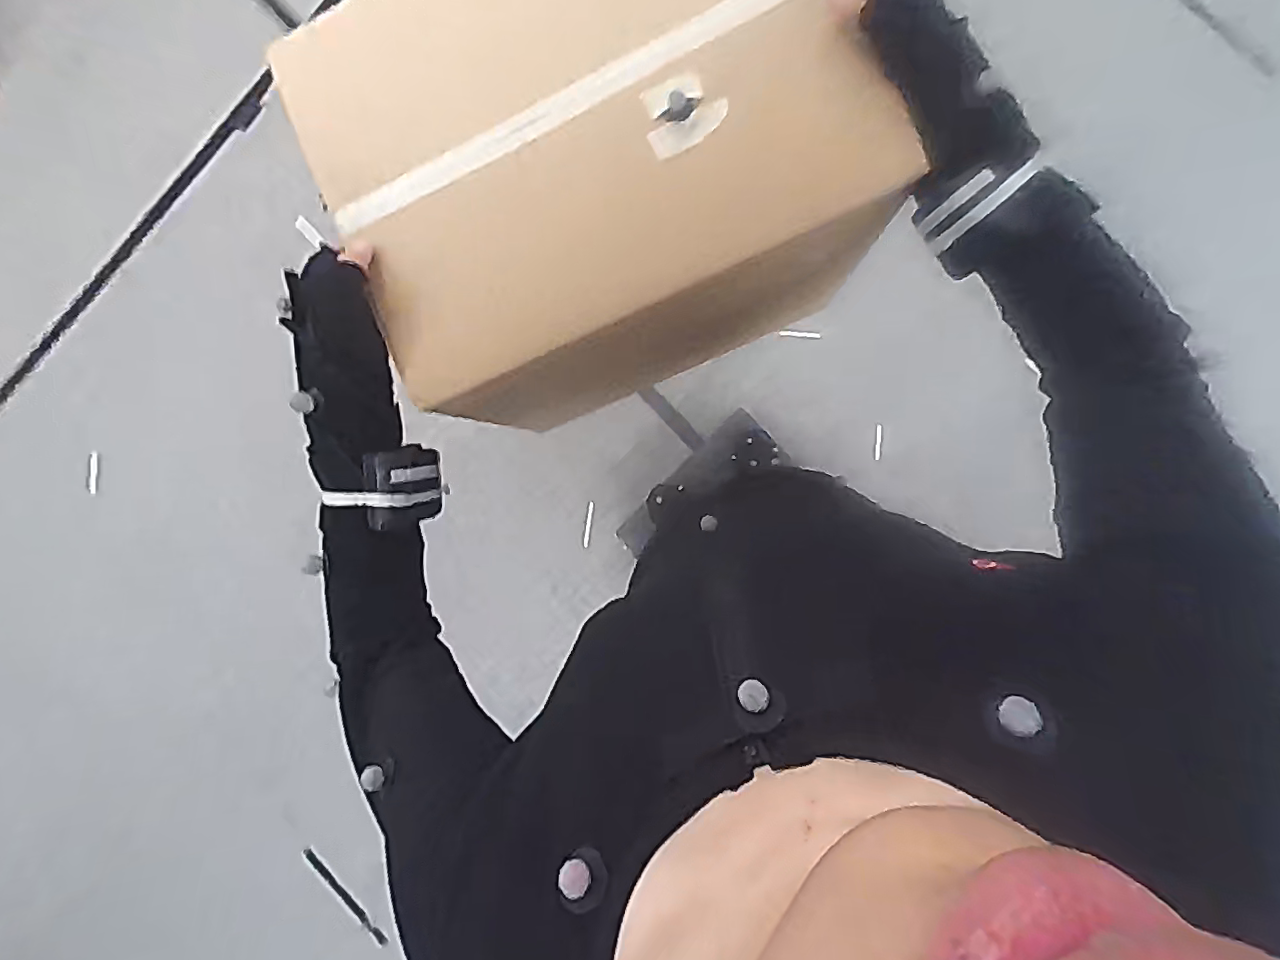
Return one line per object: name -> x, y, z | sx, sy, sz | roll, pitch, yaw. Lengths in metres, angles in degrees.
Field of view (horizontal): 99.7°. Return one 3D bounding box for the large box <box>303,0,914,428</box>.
large box -> -0.024, -0.282, 0.561 | 0.408, 0.320, 0.320 | -23, 88, 6
